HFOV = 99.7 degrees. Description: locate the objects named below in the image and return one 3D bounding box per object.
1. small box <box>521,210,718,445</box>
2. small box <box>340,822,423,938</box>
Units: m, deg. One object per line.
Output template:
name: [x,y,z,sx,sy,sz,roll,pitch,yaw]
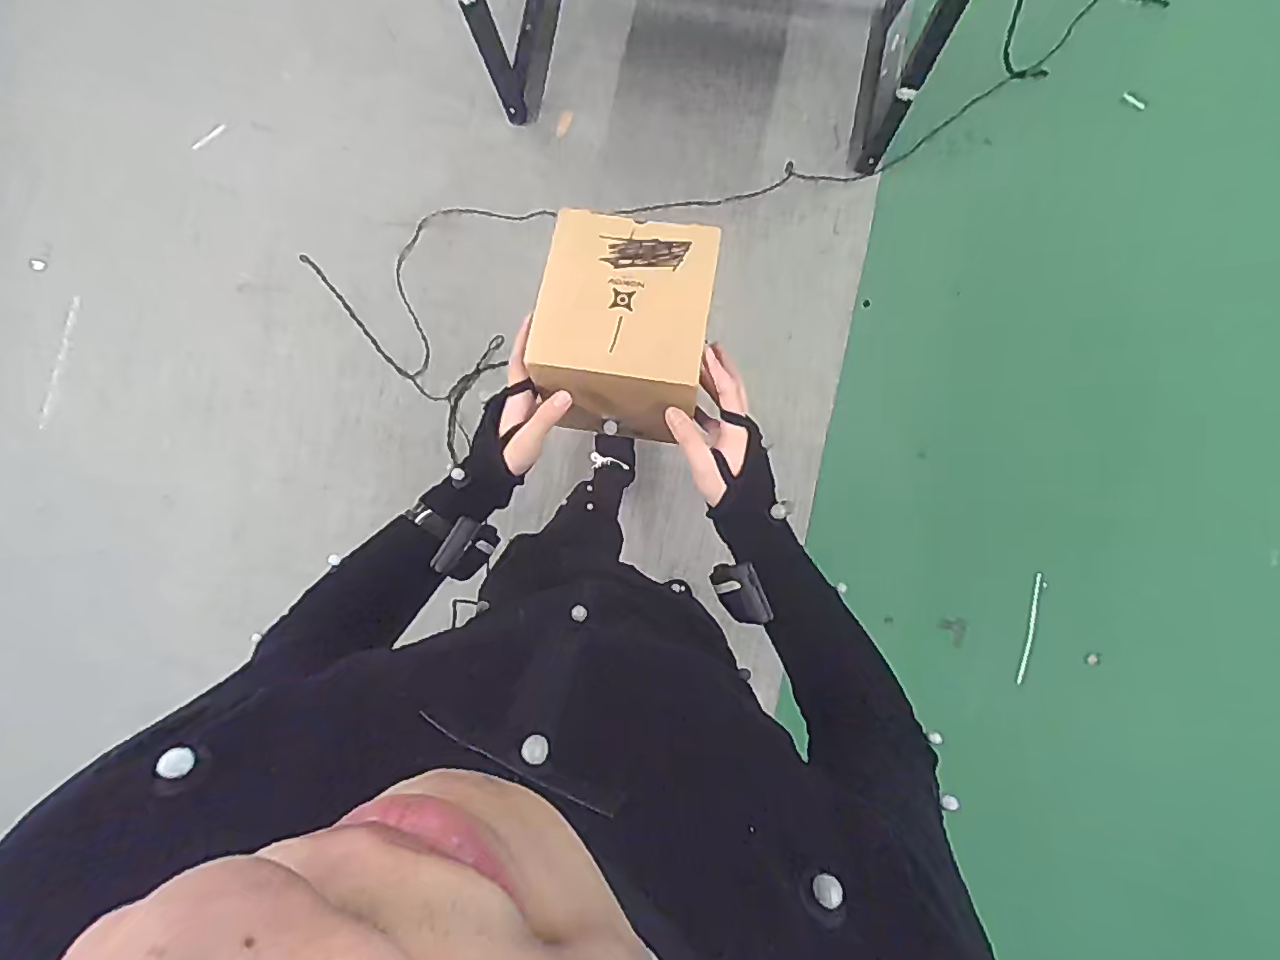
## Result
small box: [-0.016,-0.157,0.597,0.168,0.176,0.179,9,76,4]
small box: [-0.719,1.078,1.475,0.168,0.176,0.179,15,87,4]
